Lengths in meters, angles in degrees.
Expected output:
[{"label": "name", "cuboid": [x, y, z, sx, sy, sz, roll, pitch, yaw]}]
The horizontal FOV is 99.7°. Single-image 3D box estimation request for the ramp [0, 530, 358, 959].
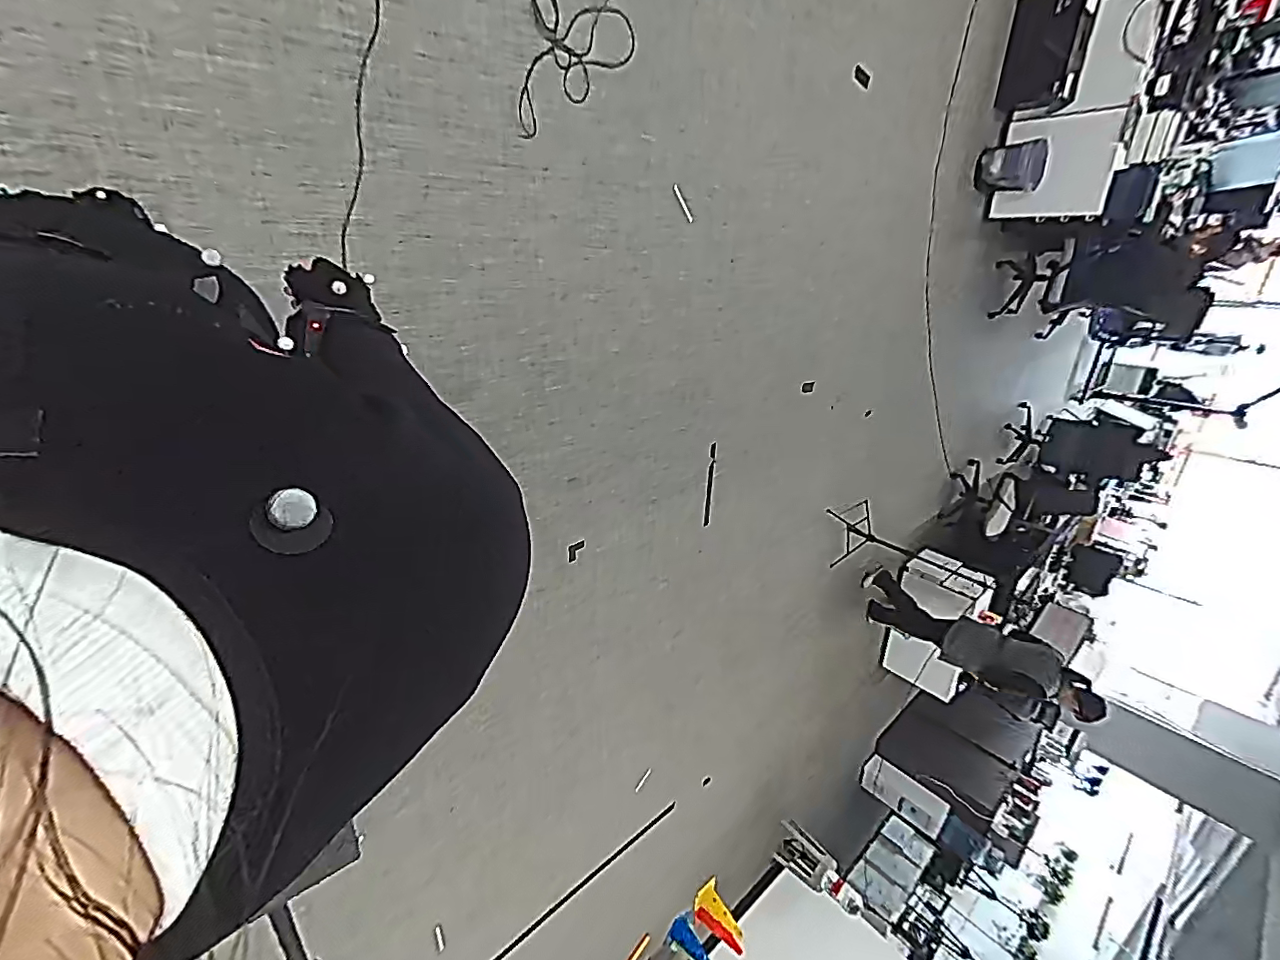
[{"label": "ramp", "cuboid": [-1.037, 0.649, 1.292, 0.509, 0.206, 0.991, -17, 119, -37]}]
